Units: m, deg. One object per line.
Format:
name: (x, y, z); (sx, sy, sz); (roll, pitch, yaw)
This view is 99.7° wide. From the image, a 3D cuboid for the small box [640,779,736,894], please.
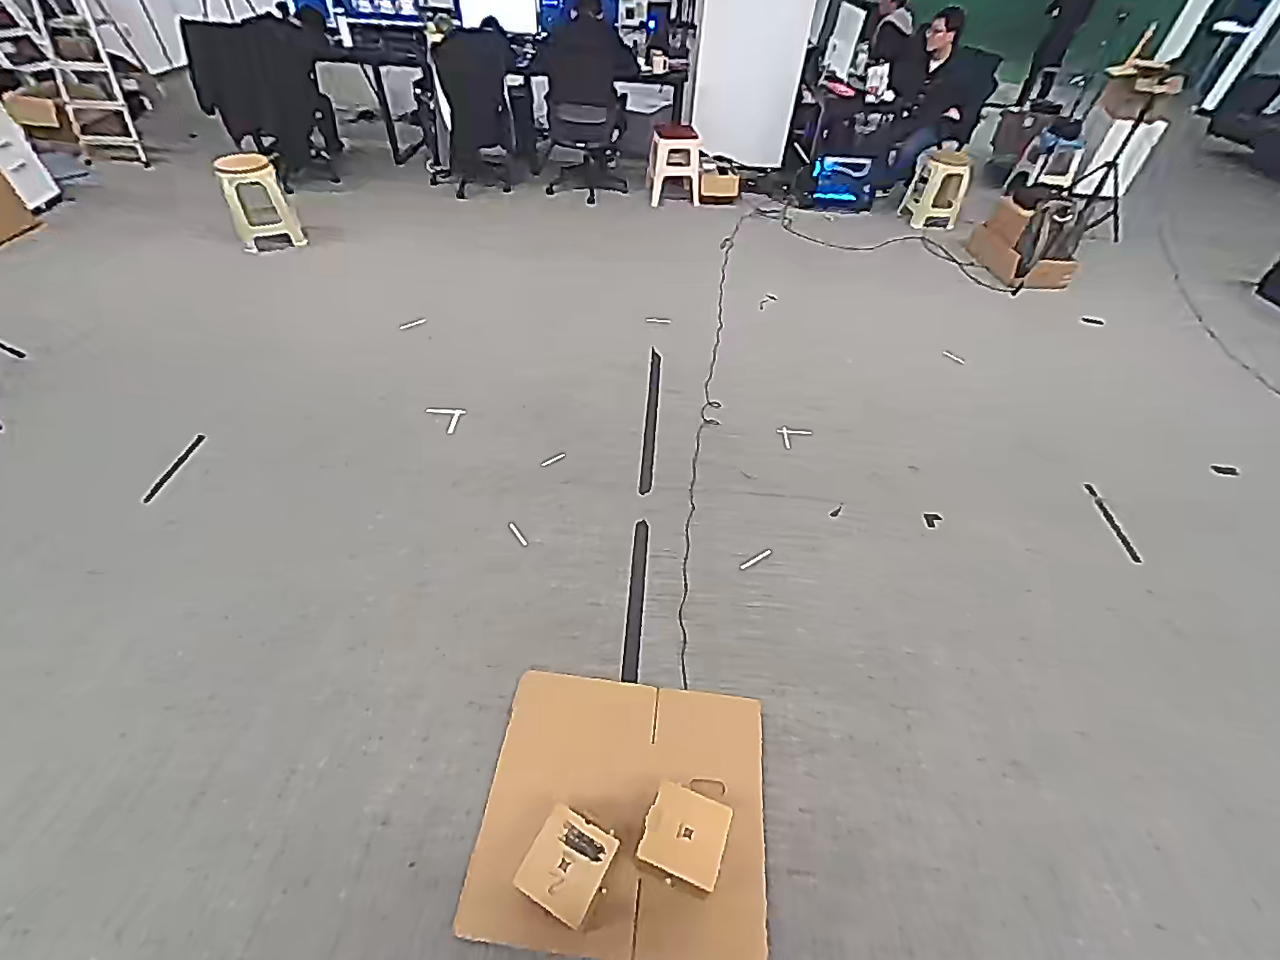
small box: (0.111, 0.836, 1.262); (0.179, 0.176, 0.168); (15, 50, 15)
